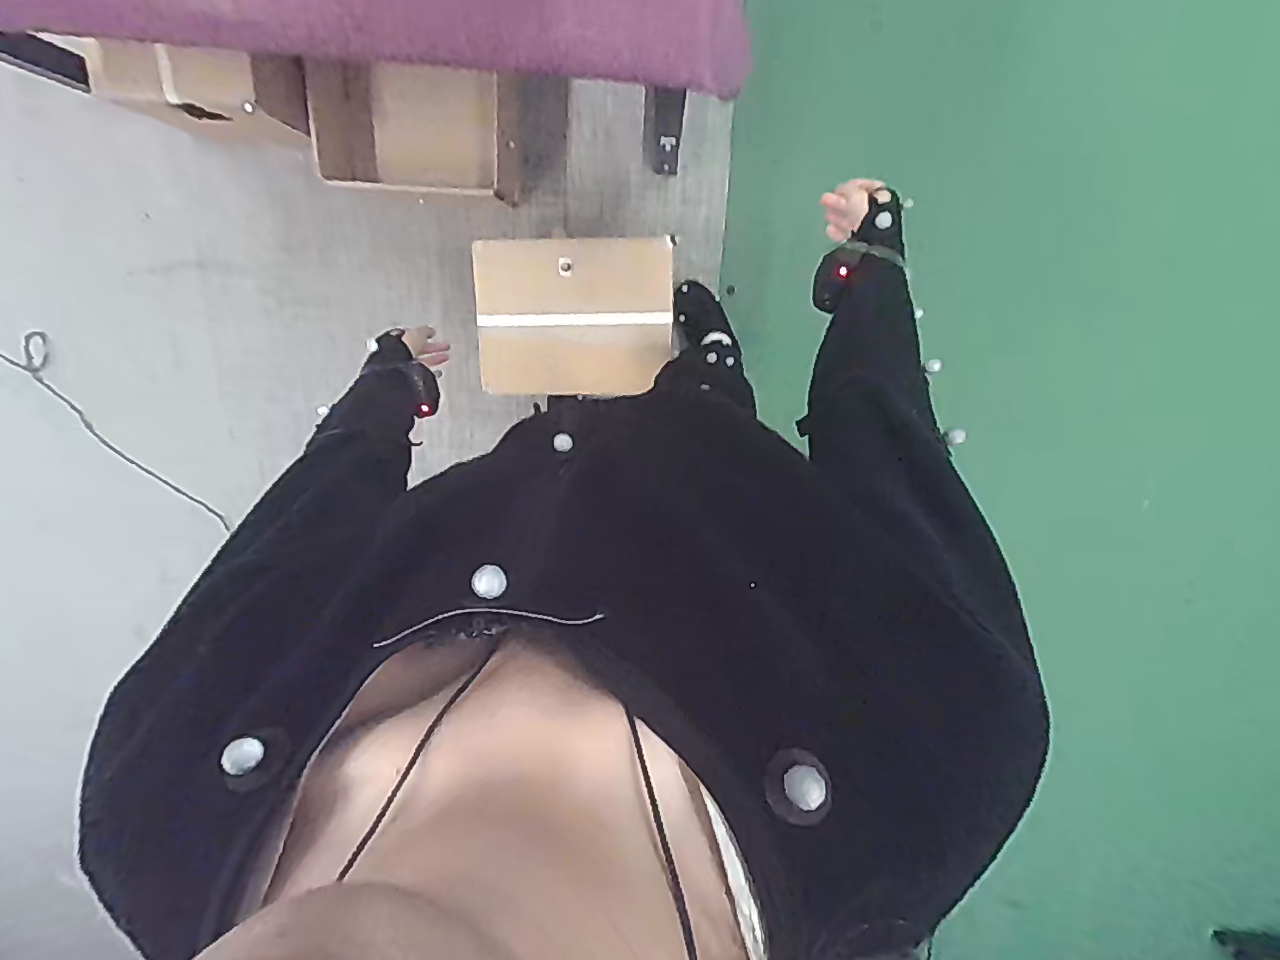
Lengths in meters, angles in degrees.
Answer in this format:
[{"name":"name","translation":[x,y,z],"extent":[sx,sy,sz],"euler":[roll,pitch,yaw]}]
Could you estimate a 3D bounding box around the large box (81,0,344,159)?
[{"name":"large box","translation":[-0.856,-0.931,1.110],"extent":[0.320,0.320,0.408],"euler":[3,108,0]}]
